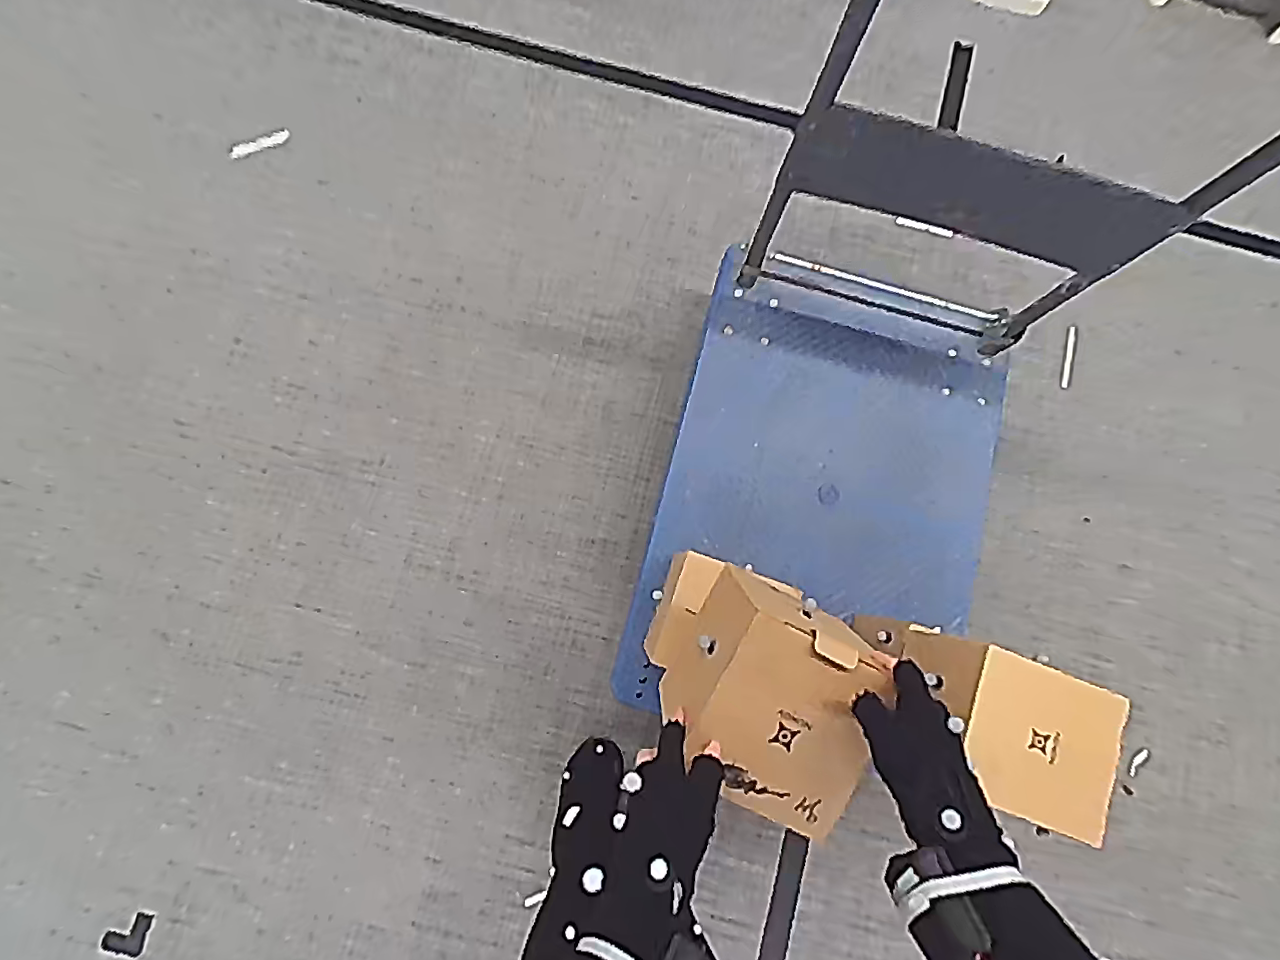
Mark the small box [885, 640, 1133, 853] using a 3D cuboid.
[{"bbox_3d":[0.438,0.308,0.669,0.179,0.176,0.168,22,80,-1],"label":"small box"}]

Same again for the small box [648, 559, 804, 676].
[{"bbox_3d":[0.121,0.225,0.829,0.179,0.176,0.168,19,80,1],"label":"small box"}]

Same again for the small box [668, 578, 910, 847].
[{"bbox_3d":[0.138,0.227,0.578,0.168,0.176,0.179,27,93,-3],"label":"small box"}]
